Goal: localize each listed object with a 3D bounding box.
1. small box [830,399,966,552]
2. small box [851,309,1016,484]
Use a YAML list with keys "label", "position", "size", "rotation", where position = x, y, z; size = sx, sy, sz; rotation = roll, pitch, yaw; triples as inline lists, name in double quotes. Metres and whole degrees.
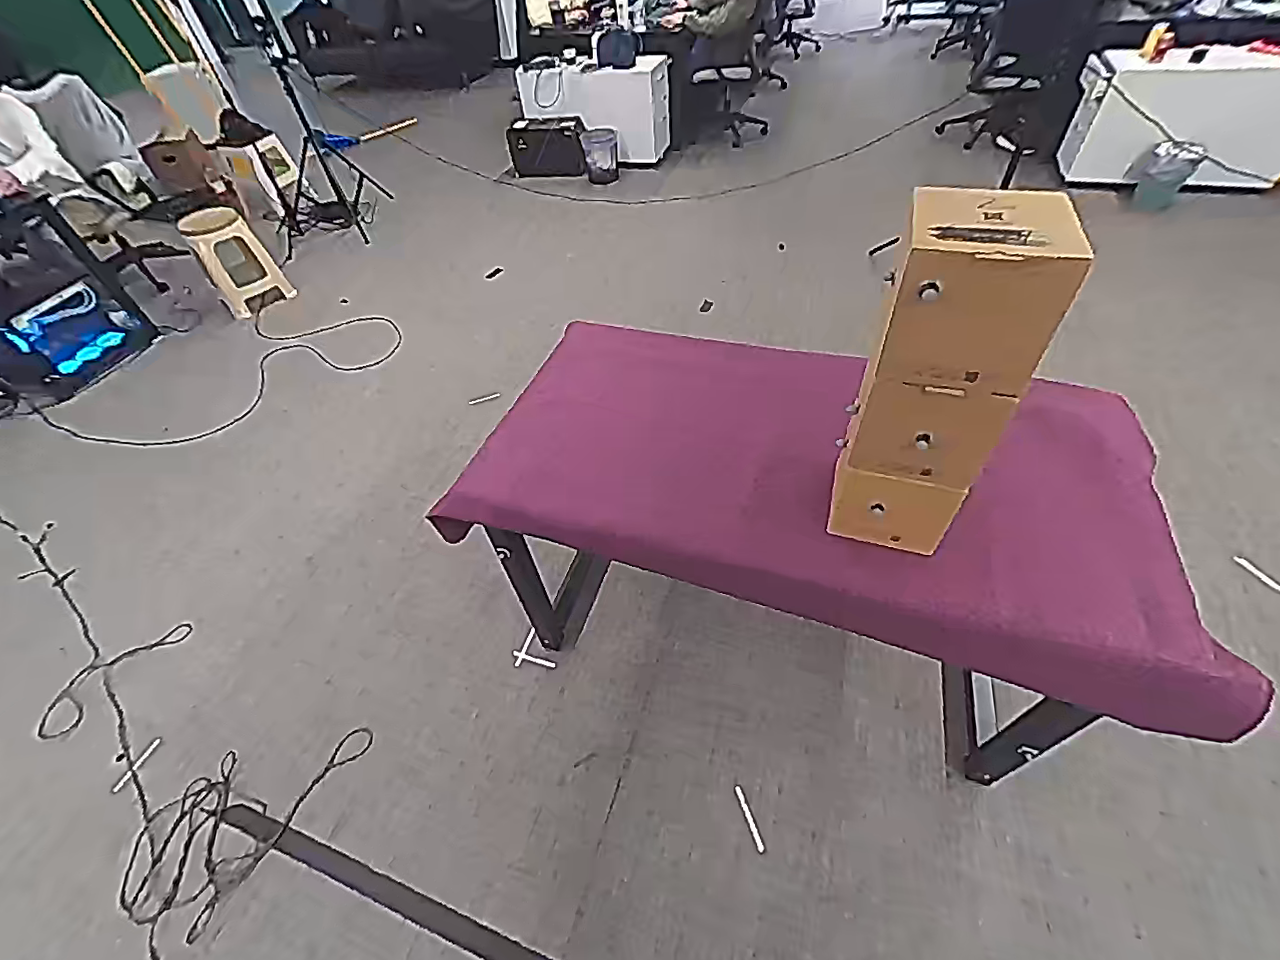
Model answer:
- label: "small box"
  position: [0.419, -0.006, 0.893]
  size: [0.168, 0.176, 0.179]
  rotation: [12, 50, 16]
- label: "small box"
  position: [0.408, -0.118, 0.773]
  size: [0.168, 0.176, 0.179]
  rotation: [13, 51, 17]
